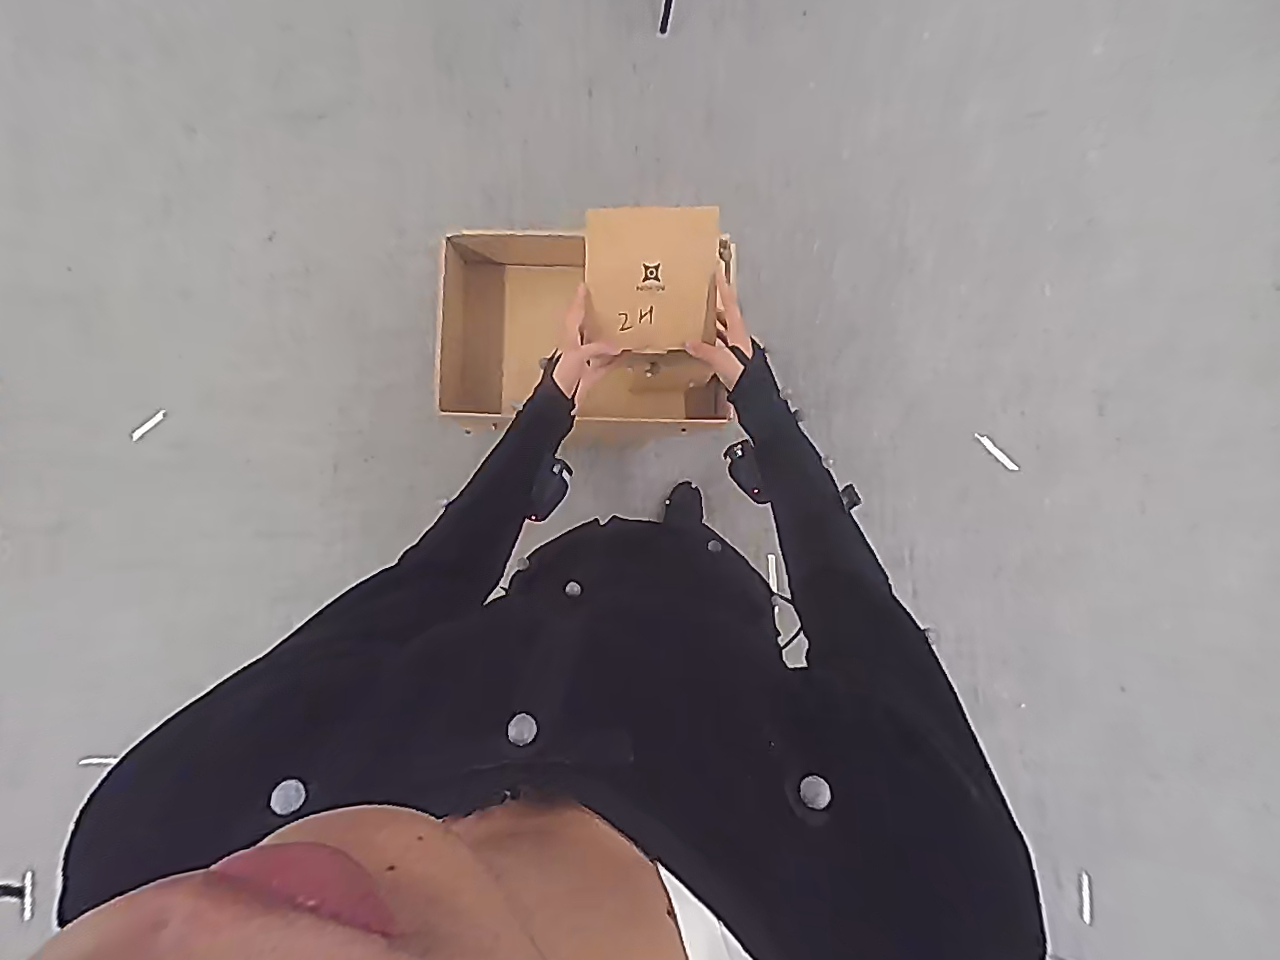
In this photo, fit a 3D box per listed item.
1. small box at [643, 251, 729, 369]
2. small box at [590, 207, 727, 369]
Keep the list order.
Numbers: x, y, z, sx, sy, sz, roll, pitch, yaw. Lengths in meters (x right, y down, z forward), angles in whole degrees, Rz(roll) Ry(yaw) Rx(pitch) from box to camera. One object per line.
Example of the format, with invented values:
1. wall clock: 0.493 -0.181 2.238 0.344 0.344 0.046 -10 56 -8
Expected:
1. small box: 0.070 -0.305 0.999 0.168 0.176 0.179 -2 87 -1
2. small box: 0.029 -0.252 0.744 0.168 0.176 0.179 2 96 6
